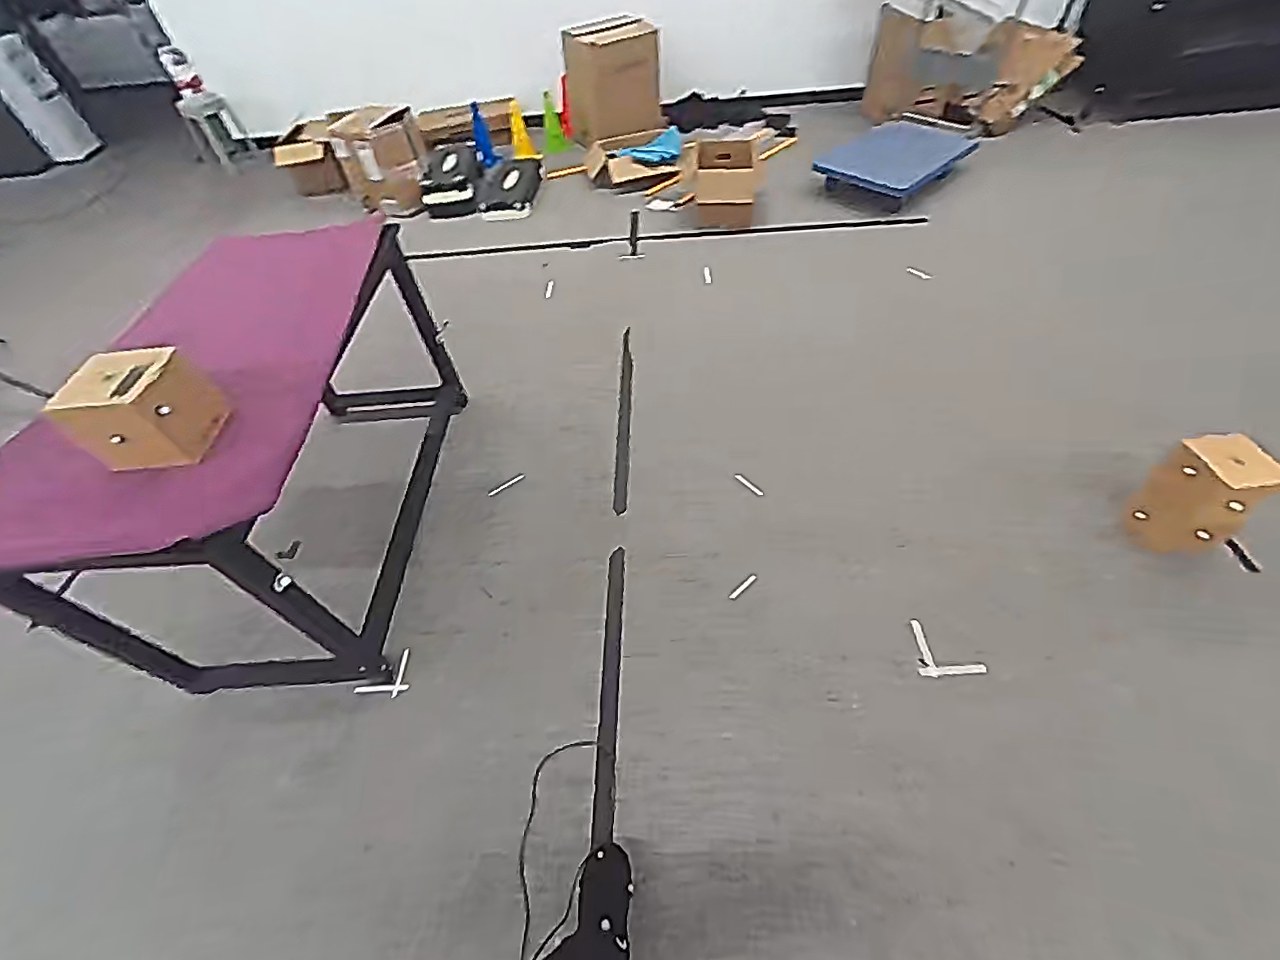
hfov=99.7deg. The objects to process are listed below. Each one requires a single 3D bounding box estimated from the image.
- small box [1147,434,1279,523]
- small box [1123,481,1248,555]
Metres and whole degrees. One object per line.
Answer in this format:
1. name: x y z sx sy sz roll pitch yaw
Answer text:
1. small box: 1.555 0.002 1.463 0.168 0.176 0.179 -7 49 0
2. small box: 1.577 0.110 1.584 0.179 0.176 0.168 0 51 5
